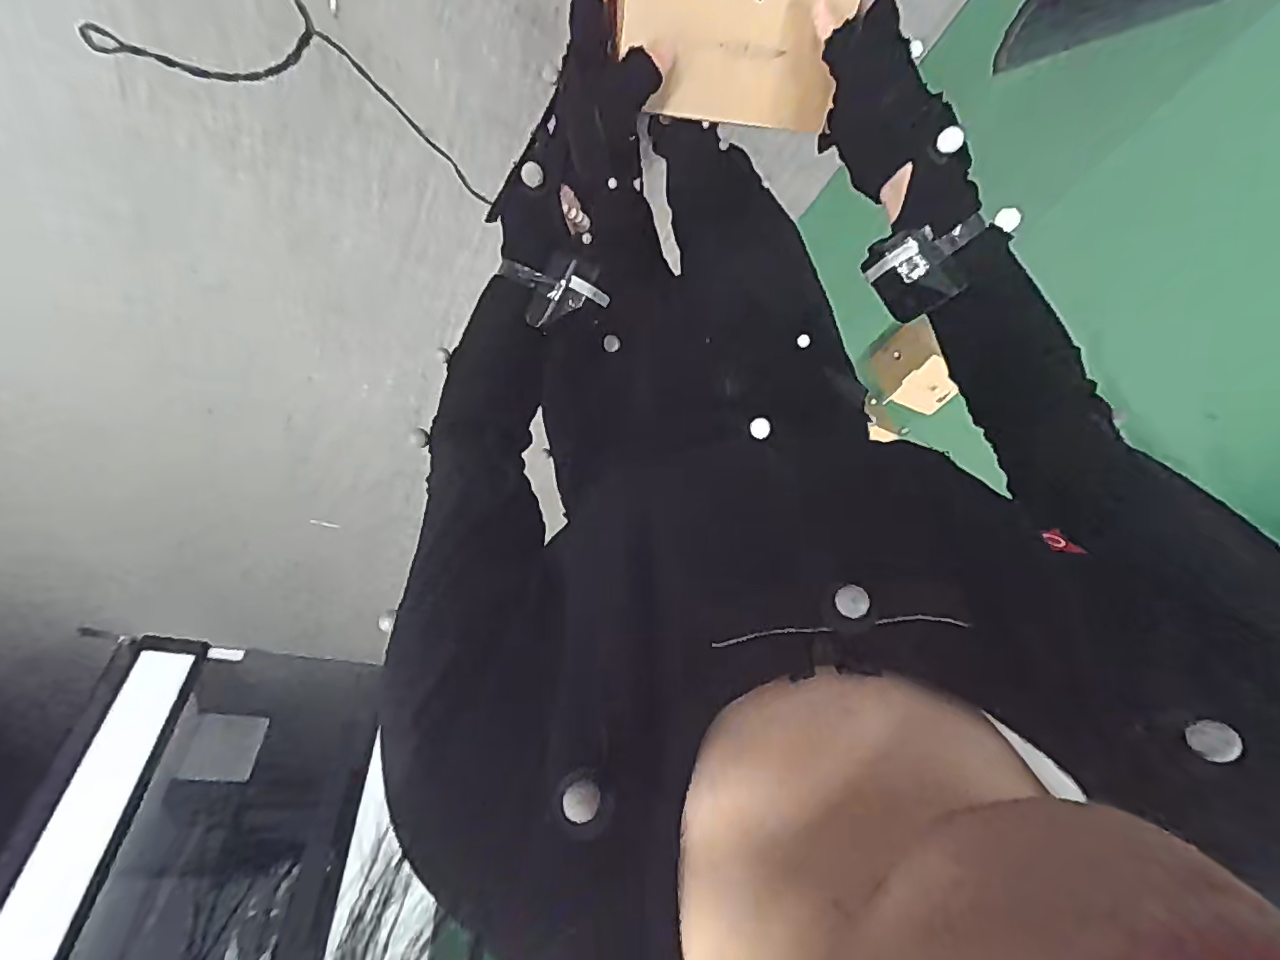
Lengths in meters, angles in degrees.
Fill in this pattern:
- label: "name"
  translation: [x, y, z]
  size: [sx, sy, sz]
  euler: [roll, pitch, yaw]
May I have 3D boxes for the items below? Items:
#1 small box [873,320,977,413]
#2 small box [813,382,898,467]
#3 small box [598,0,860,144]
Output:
- label: "small box"
  translation: [0.801, -0.326, 1.538]
  size: [0.179, 0.176, 0.168]
  euler: [17, 137, -22]
- label: "small box"
  translation: [0.673, -0.175, 1.717]
  size: [0.168, 0.176, 0.179]
  euler: [18, 136, -25]
- label: "small box"
  translation: [0.059, -0.383, 0.417]
  size: [0.168, 0.176, 0.179]
  euler: [0, 130, -11]
